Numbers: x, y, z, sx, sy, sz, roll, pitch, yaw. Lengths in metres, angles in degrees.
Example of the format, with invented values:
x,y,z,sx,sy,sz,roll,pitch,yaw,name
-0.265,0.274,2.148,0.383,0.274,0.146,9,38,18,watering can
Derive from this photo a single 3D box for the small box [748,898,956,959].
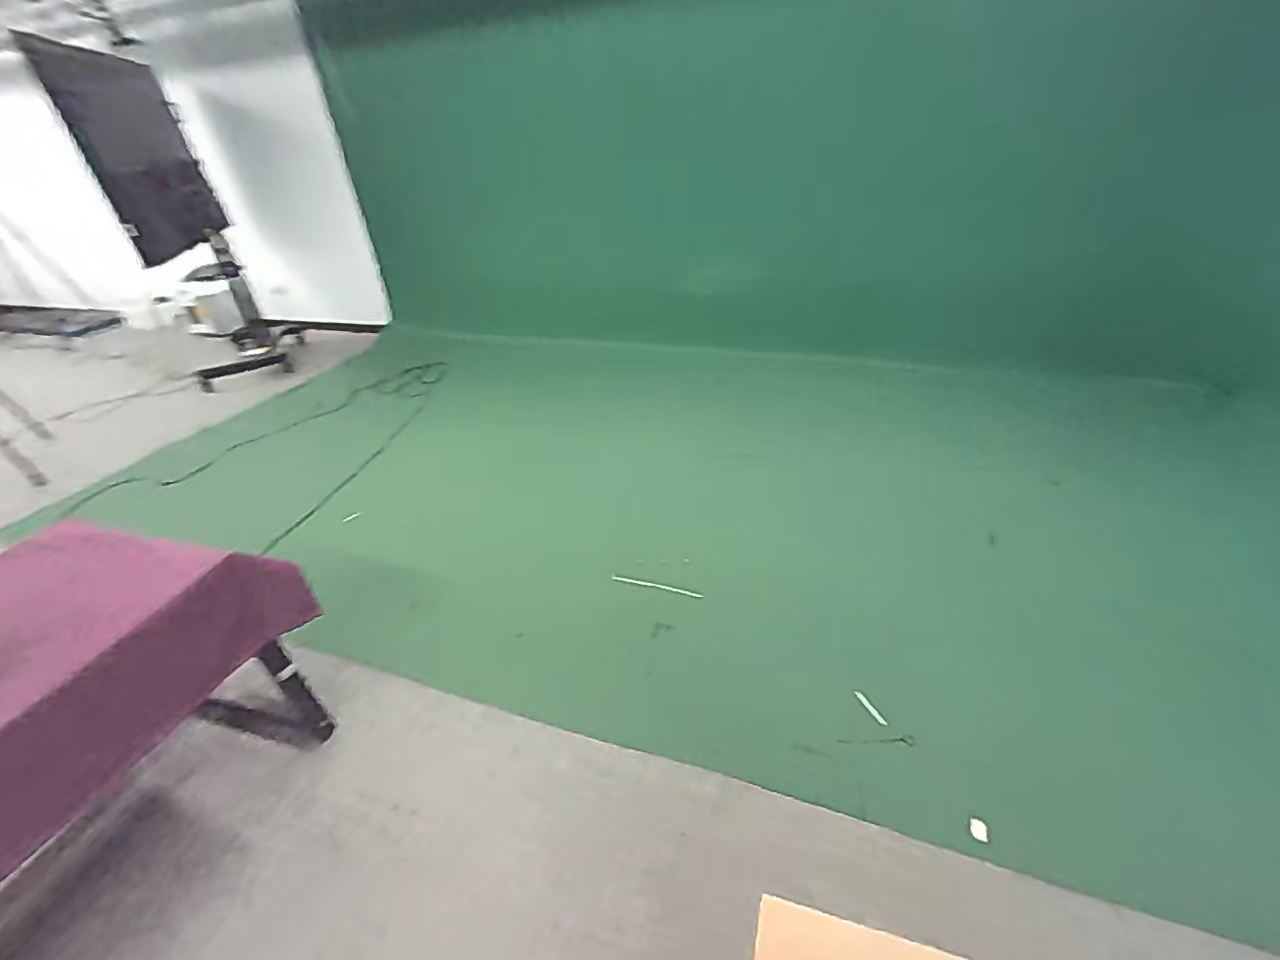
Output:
x,y,z,sx,sy,sz,roll,pitch,yaw,name
0.157,0.482,0.418,0.168,0.176,0.179,6,33,16,small box
